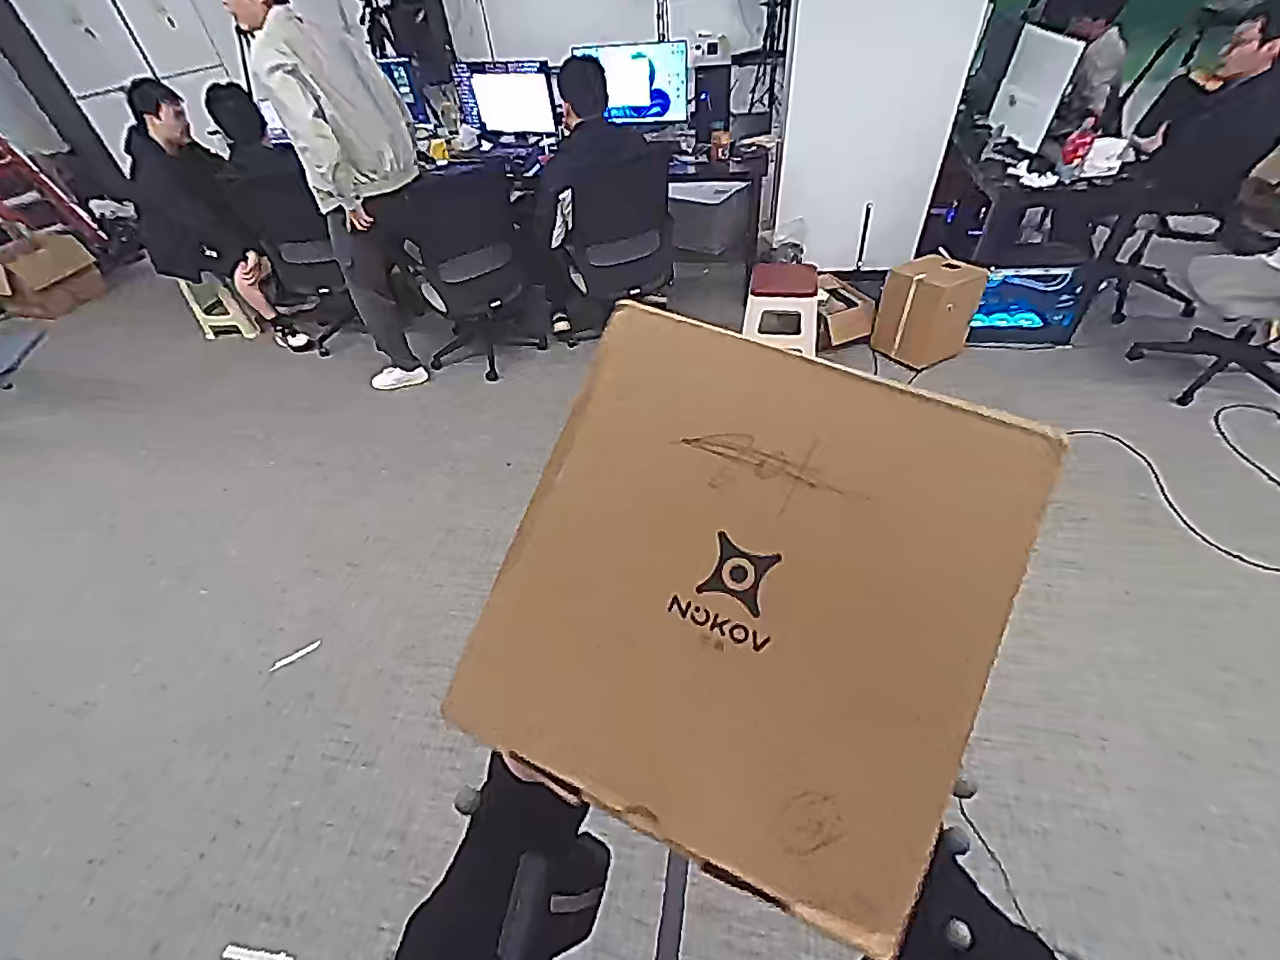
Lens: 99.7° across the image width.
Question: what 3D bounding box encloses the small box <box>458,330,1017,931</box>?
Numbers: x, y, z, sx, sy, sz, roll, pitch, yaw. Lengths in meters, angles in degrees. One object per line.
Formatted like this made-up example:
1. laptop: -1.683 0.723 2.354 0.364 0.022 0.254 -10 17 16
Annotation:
1. small box: 0.046 0.056 0.278 0.168 0.176 0.179 18 82 13
